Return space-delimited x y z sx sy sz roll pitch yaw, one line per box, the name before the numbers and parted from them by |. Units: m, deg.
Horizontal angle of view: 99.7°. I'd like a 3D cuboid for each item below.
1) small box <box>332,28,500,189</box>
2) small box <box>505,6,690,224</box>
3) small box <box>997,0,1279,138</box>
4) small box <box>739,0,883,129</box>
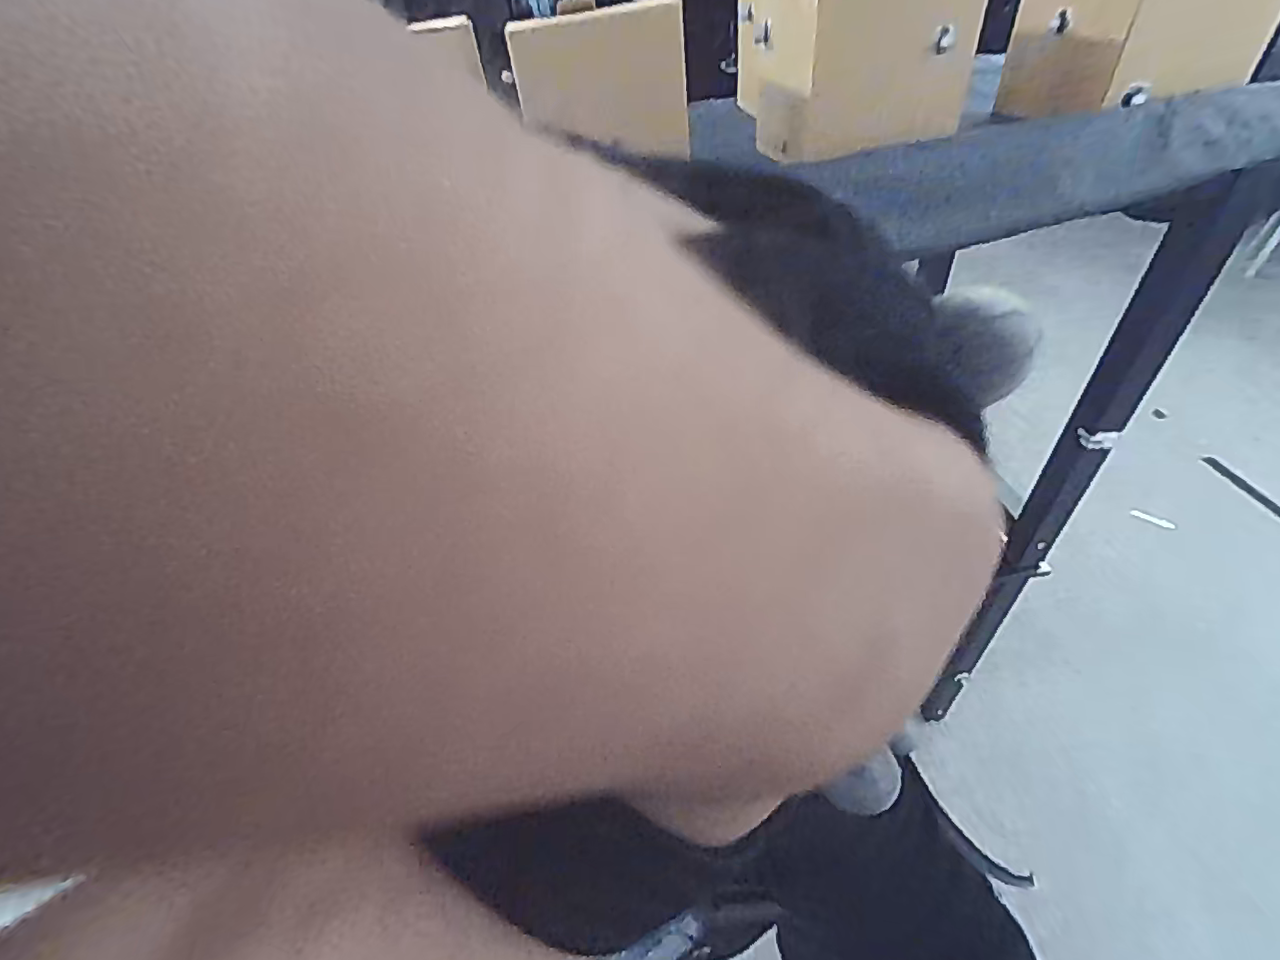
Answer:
small box | -0.318 -0.557 0.815 0.179 0.176 0.168 -9 43 -2
small box | -0.045 -0.404 0.603 0.168 0.176 0.179 -12 41 -2
small box | 0.545 -0.495 0.598 0.168 0.176 0.179 -11 41 -1
small box | 0.252 -0.653 0.823 0.168 0.176 0.179 -10 43 0
